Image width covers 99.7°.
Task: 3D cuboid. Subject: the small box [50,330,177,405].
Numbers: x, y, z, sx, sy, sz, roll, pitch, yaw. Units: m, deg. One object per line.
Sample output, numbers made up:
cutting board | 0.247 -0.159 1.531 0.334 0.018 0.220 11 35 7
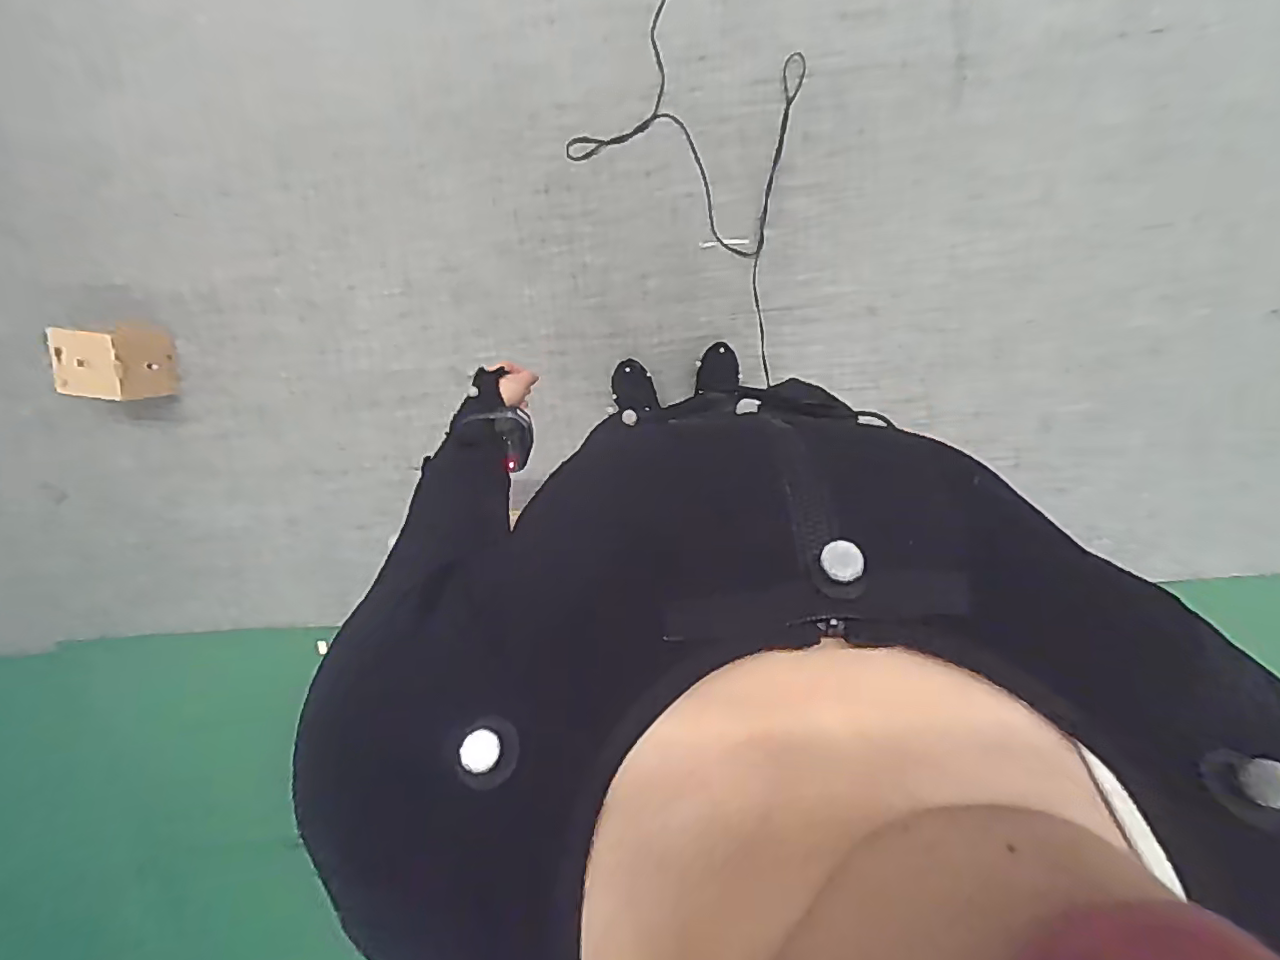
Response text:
small box | -1.371 -0.302 1.426 0.179 0.176 0.168 8 106 1
